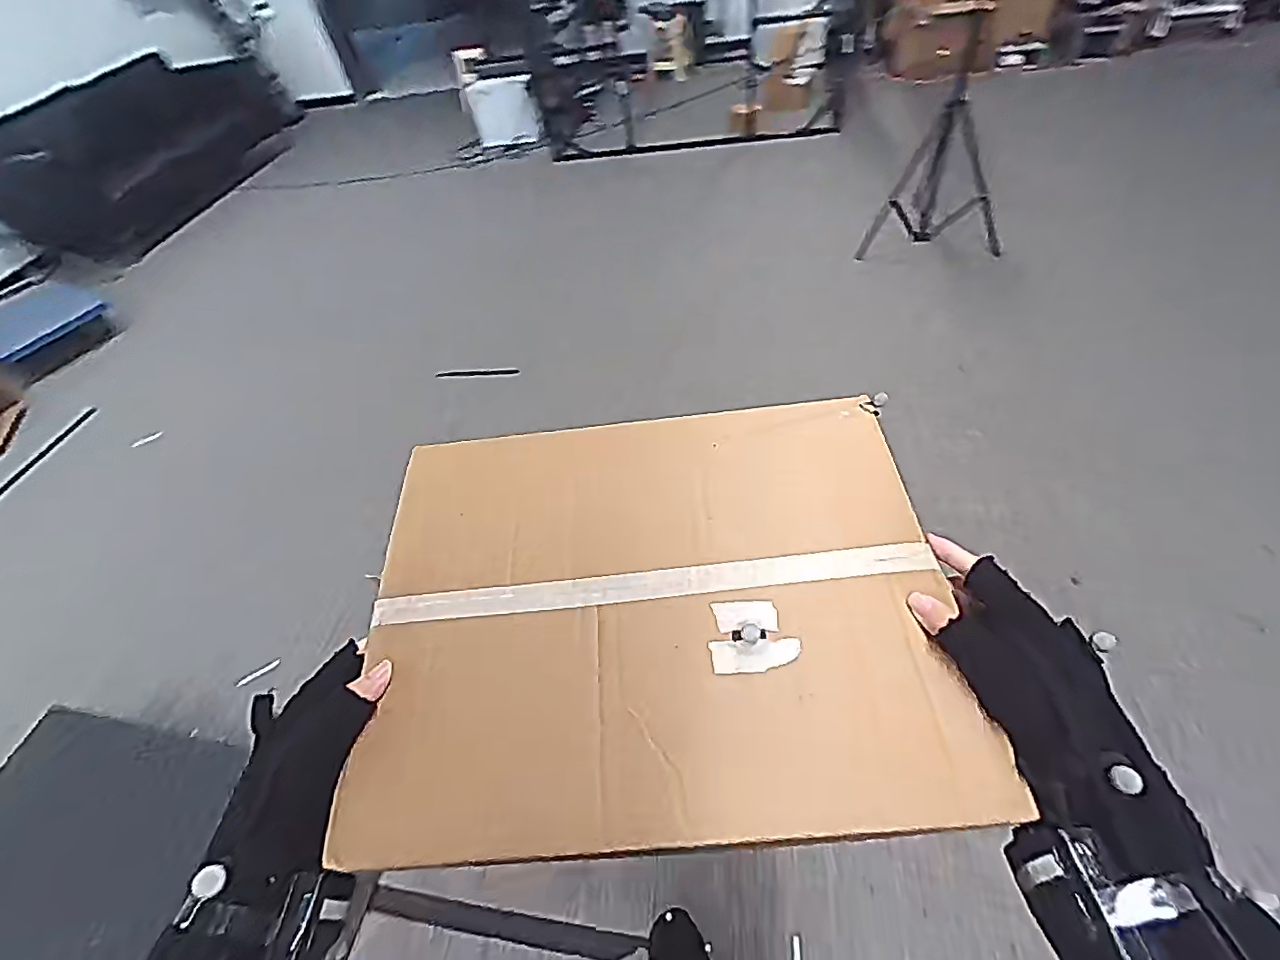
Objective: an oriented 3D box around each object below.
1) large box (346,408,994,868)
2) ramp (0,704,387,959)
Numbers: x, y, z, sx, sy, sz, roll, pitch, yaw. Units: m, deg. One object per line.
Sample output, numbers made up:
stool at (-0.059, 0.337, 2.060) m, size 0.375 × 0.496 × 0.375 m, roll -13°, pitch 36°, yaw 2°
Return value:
large box at (0.015, 0.168, 0.529) m, size 0.408 × 0.320 × 0.320 m, roll -7°, pitch 56°, yaw 2°
ramp at (-1.095, 0.872, 1.266) m, size 0.991 × 0.206 × 0.509 m, roll 2°, pitch 49°, yaw 12°
